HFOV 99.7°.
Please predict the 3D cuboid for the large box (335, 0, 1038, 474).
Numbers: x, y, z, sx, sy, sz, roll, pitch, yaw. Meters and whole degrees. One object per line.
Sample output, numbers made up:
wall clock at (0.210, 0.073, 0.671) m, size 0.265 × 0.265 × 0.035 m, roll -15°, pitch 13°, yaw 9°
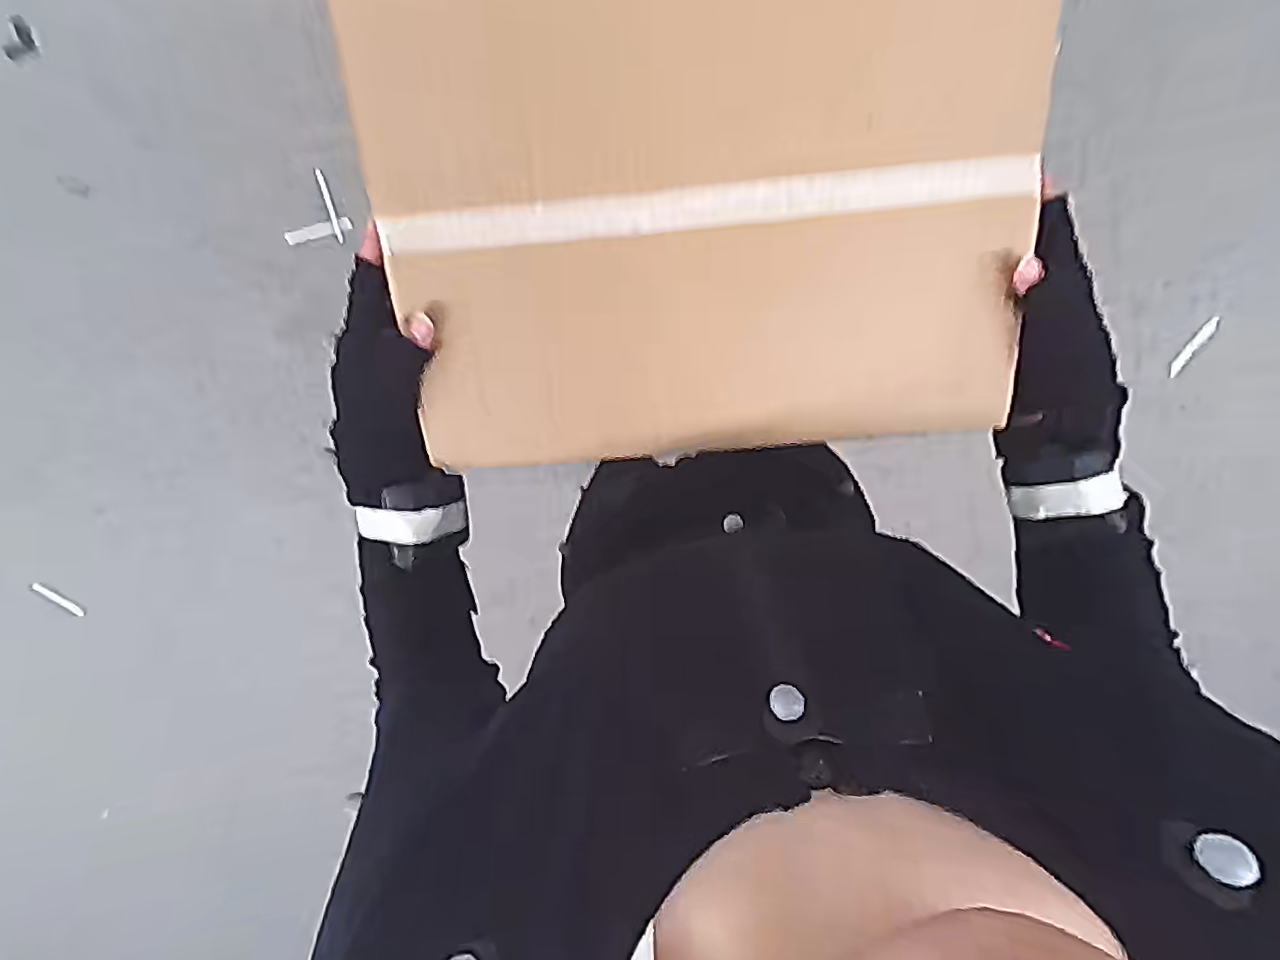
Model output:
large box at (0.037, -0.215, 0.484) m, size 0.408 × 0.320 × 0.320 m, roll -4°, pitch 109°, yaw 1°
